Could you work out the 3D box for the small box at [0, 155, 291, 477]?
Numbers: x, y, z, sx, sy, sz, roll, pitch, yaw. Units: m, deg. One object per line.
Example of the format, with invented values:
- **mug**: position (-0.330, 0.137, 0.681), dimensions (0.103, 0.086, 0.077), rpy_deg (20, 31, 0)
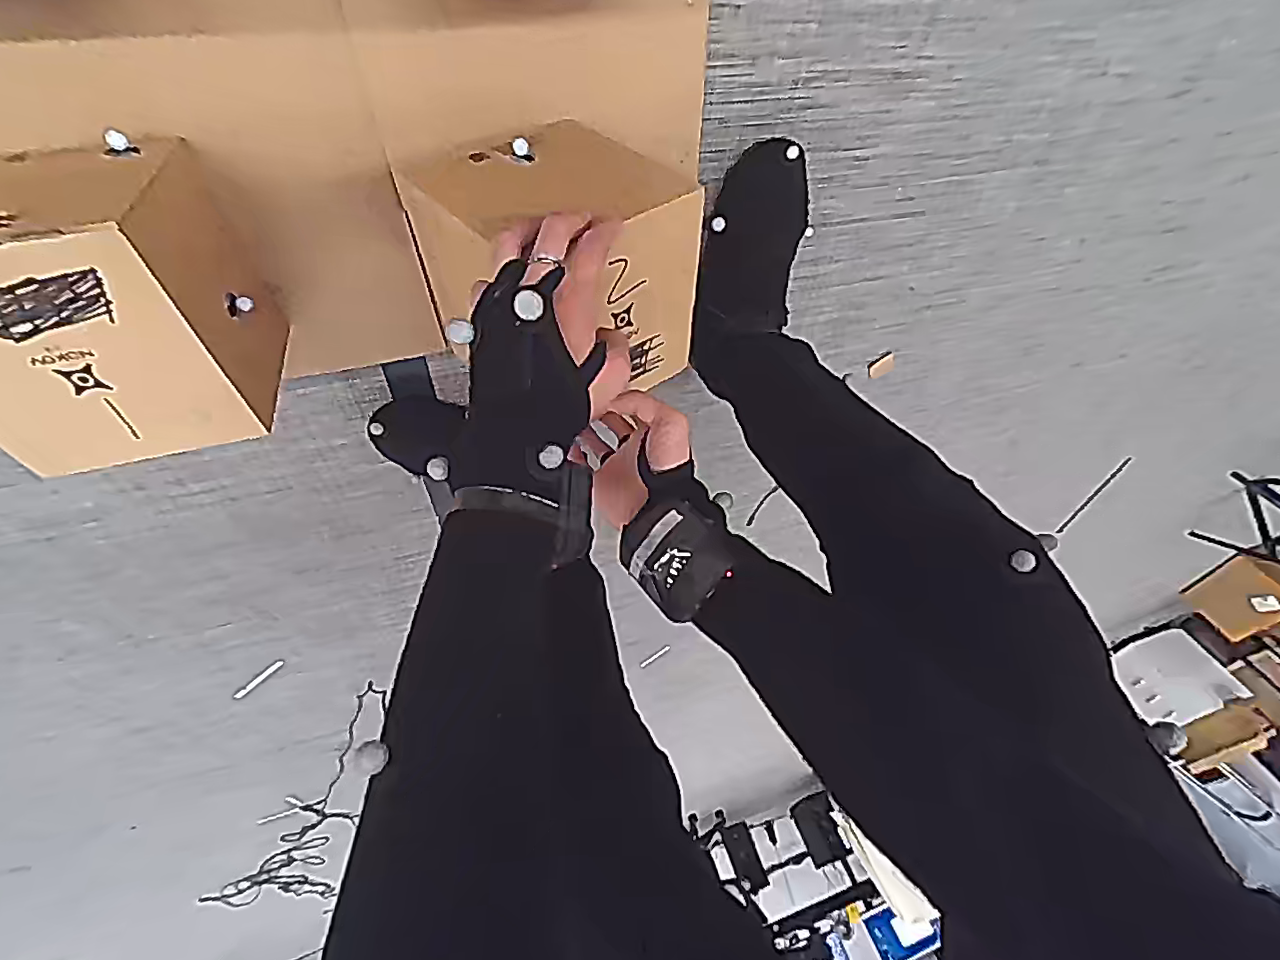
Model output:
- **small box**: position (-0.406, -0.135, 0.426), dimensions (0.168, 0.176, 0.179), rpy_deg (-13, 140, -11)
